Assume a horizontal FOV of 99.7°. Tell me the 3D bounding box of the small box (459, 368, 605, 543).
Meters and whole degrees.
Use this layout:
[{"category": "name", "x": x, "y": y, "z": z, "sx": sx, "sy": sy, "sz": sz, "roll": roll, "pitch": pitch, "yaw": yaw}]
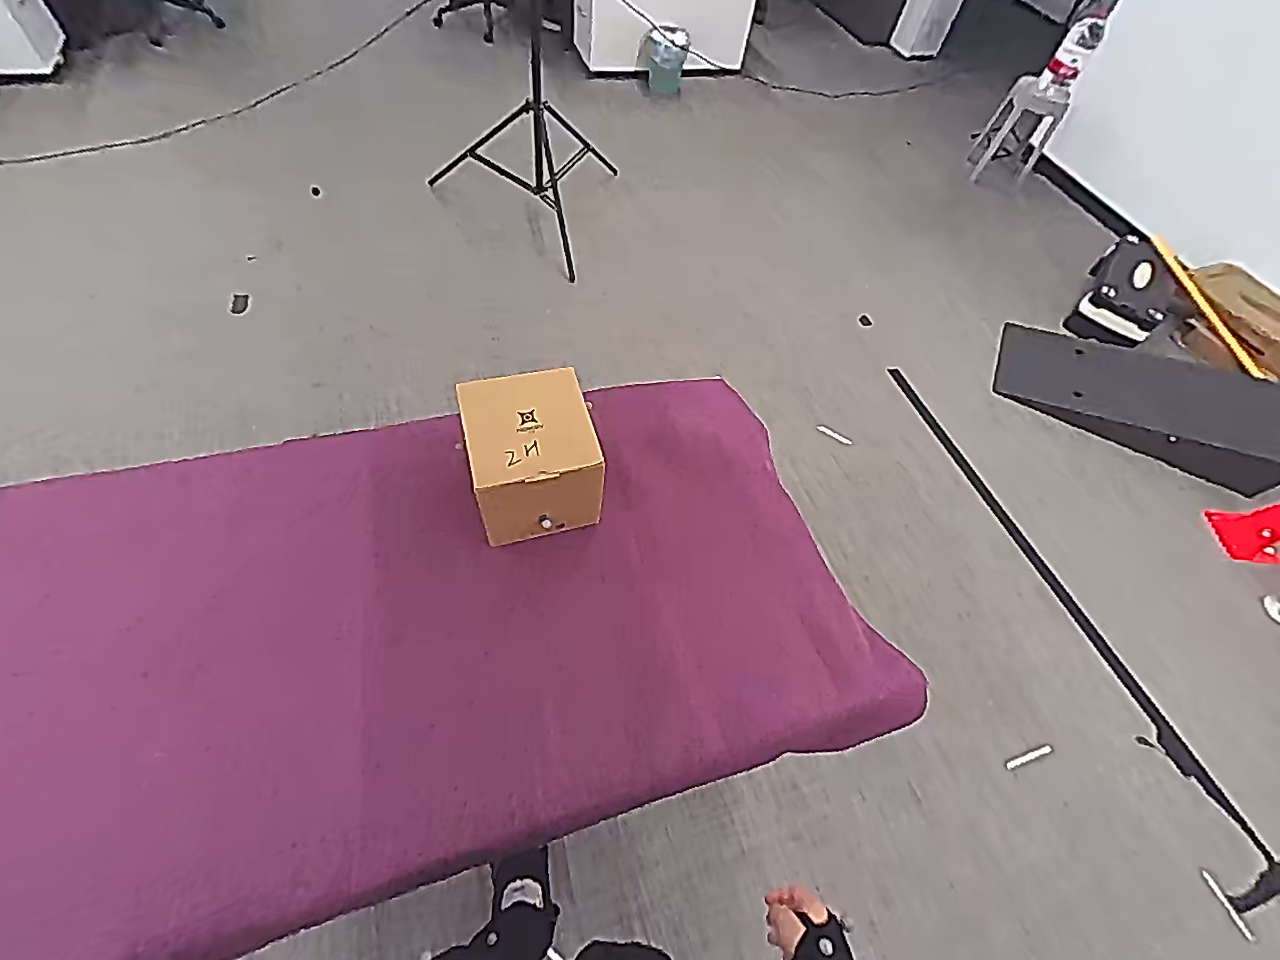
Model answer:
[{"category": "small box", "x": -0.156, "y": -0.033, "z": 0.783, "sx": 0.168, "sy": 0.176, "sz": 0.179, "roll": -12, "pitch": 61, "yaw": -14}]
